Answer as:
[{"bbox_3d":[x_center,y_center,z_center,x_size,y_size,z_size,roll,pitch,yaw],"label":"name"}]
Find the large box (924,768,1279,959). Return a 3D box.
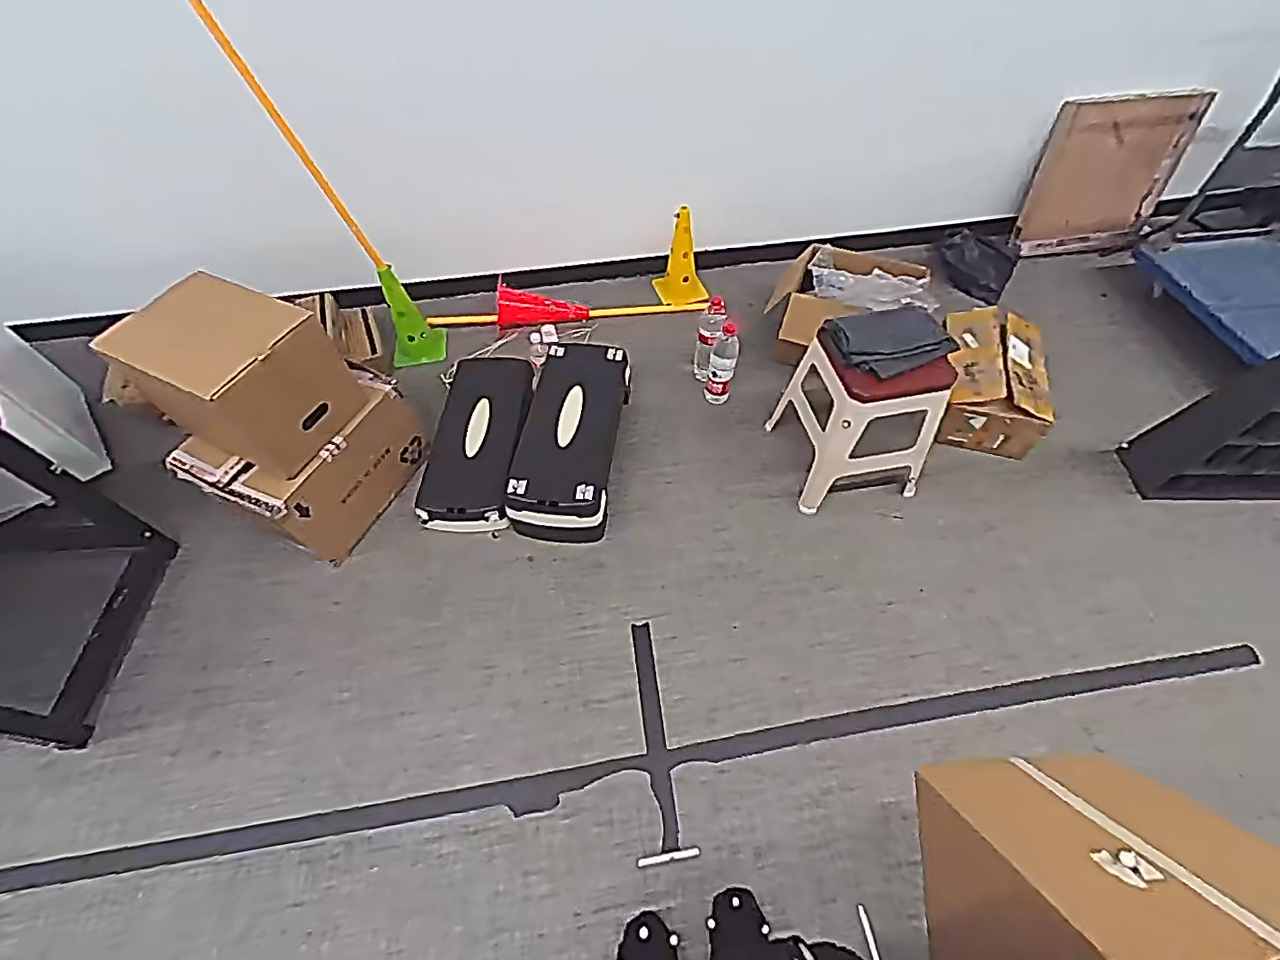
[{"bbox_3d":[0.598,0.601,0.650,0.320,0.408,0.320,-3,88,2],"label":"large box"}]
